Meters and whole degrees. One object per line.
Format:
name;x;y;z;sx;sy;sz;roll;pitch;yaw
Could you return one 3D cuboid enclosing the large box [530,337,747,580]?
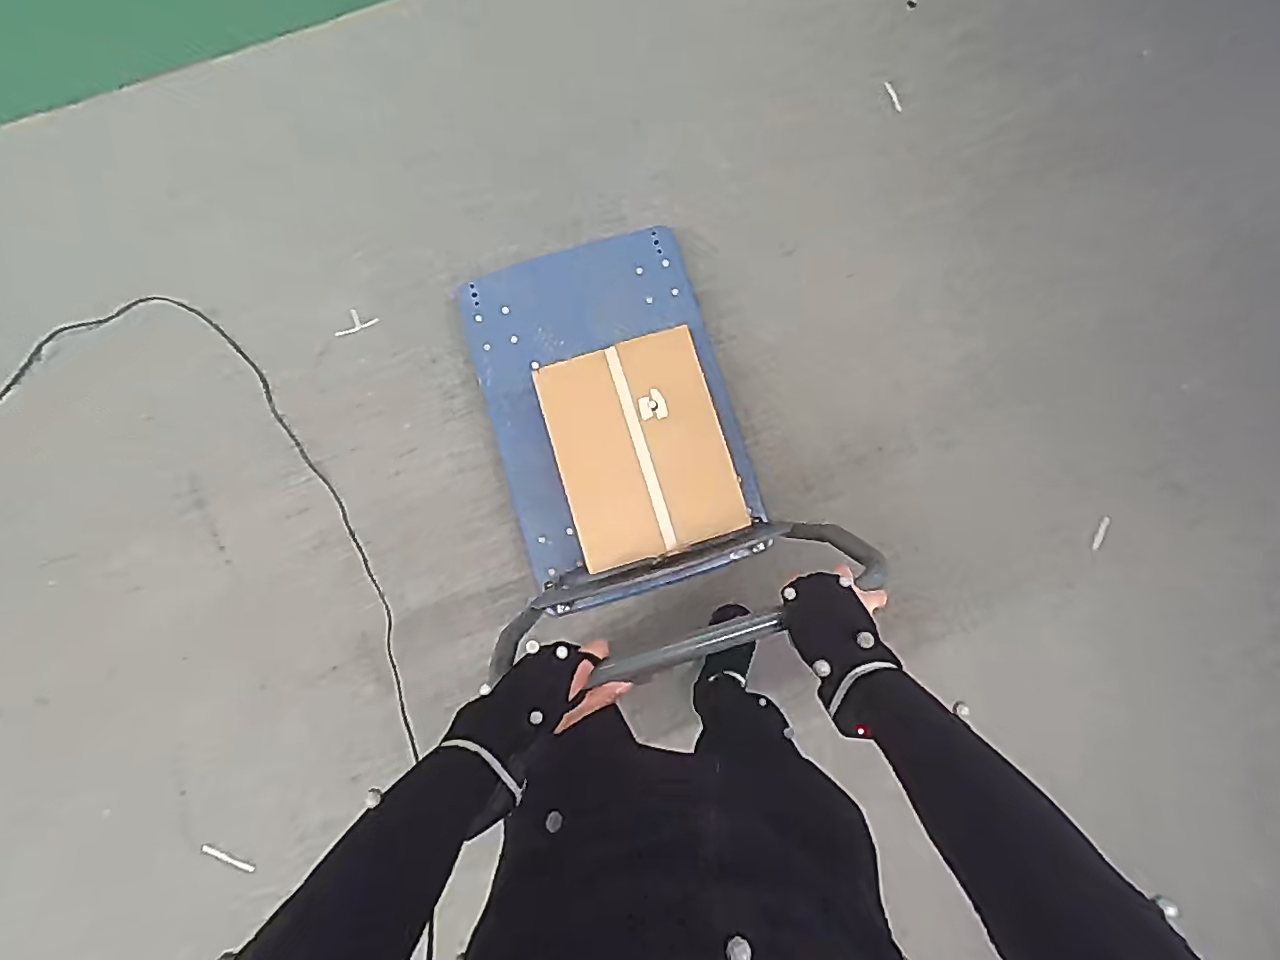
large box;-0.004;-0.026;1.167;0.320;0.320;0.408;-17;82;-3
